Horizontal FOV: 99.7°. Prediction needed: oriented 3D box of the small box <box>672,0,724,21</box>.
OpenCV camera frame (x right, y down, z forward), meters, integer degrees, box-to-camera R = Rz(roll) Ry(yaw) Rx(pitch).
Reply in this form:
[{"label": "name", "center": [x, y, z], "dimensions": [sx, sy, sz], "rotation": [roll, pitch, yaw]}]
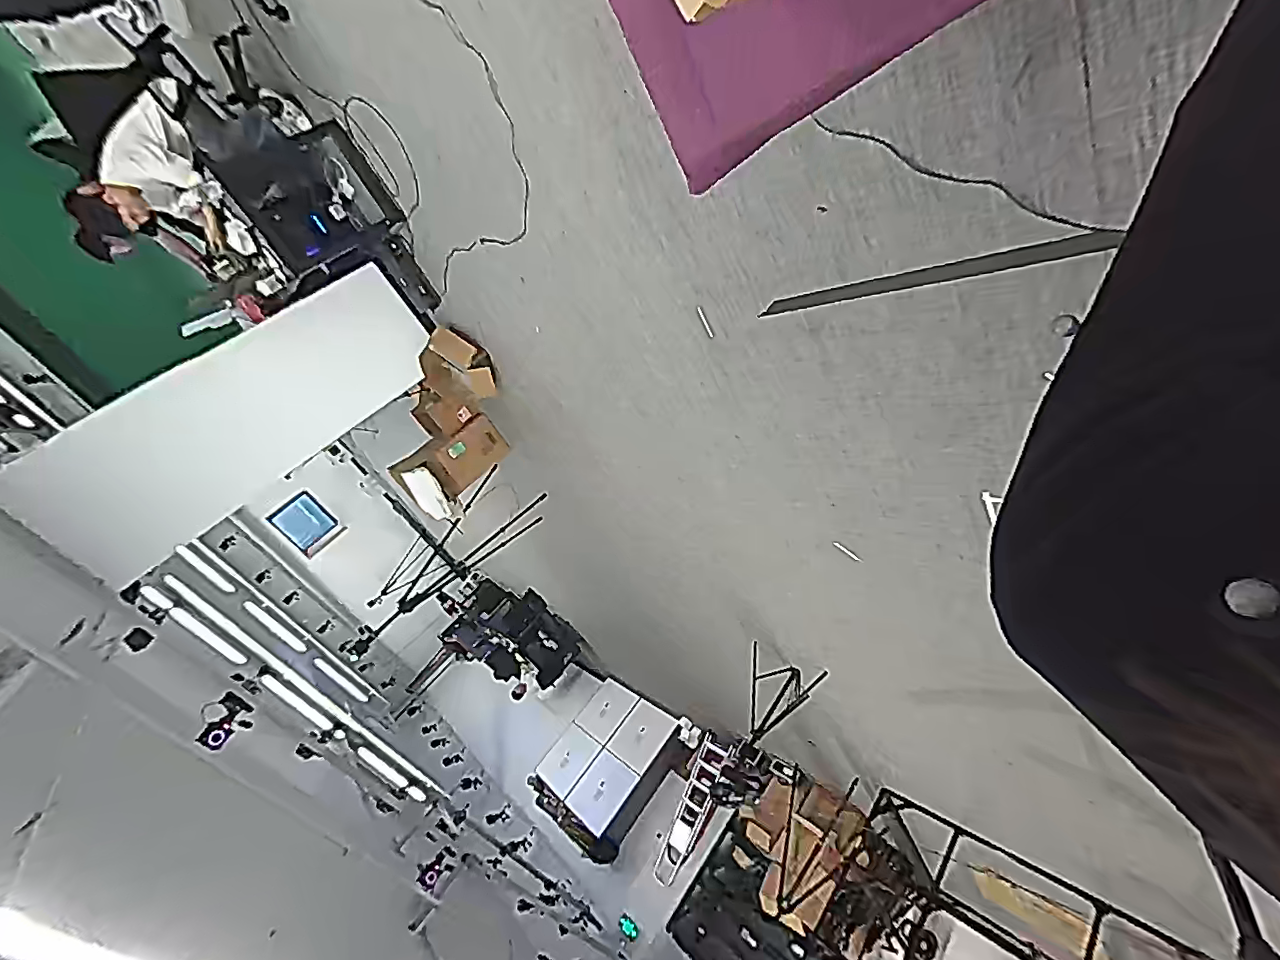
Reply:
[{"label": "small box", "center": [0.098, -0.655, 0.572], "dimensions": [0.179, 0.176, 0.168], "rotation": [53, 152, -18]}]
